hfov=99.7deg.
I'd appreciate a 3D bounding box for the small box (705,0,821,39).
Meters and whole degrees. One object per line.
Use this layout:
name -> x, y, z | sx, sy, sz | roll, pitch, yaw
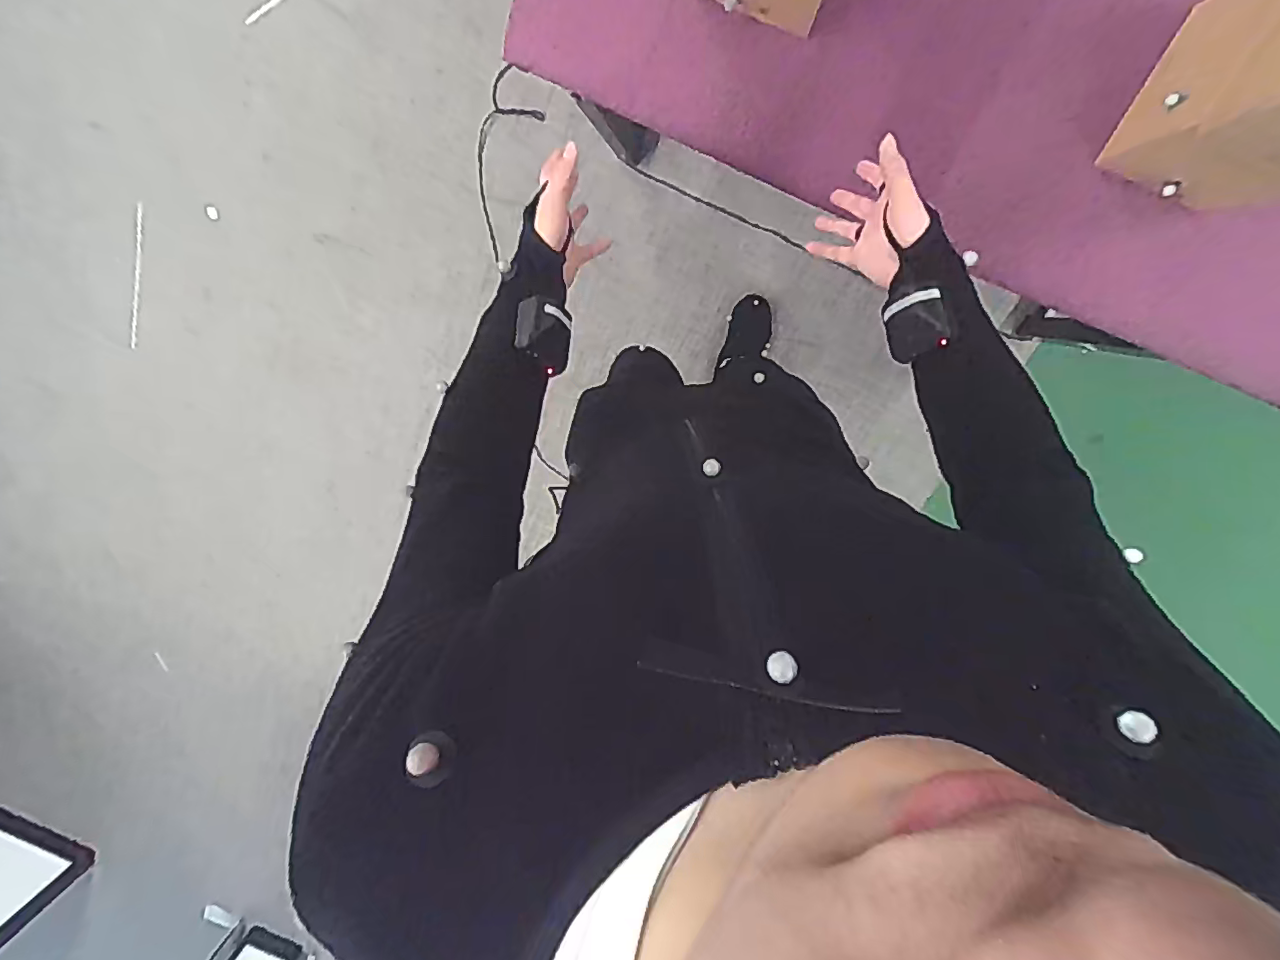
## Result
small box -> 0.153, -0.633, 0.578 | 0.168, 0.176, 0.179 | 24, 111, 0
